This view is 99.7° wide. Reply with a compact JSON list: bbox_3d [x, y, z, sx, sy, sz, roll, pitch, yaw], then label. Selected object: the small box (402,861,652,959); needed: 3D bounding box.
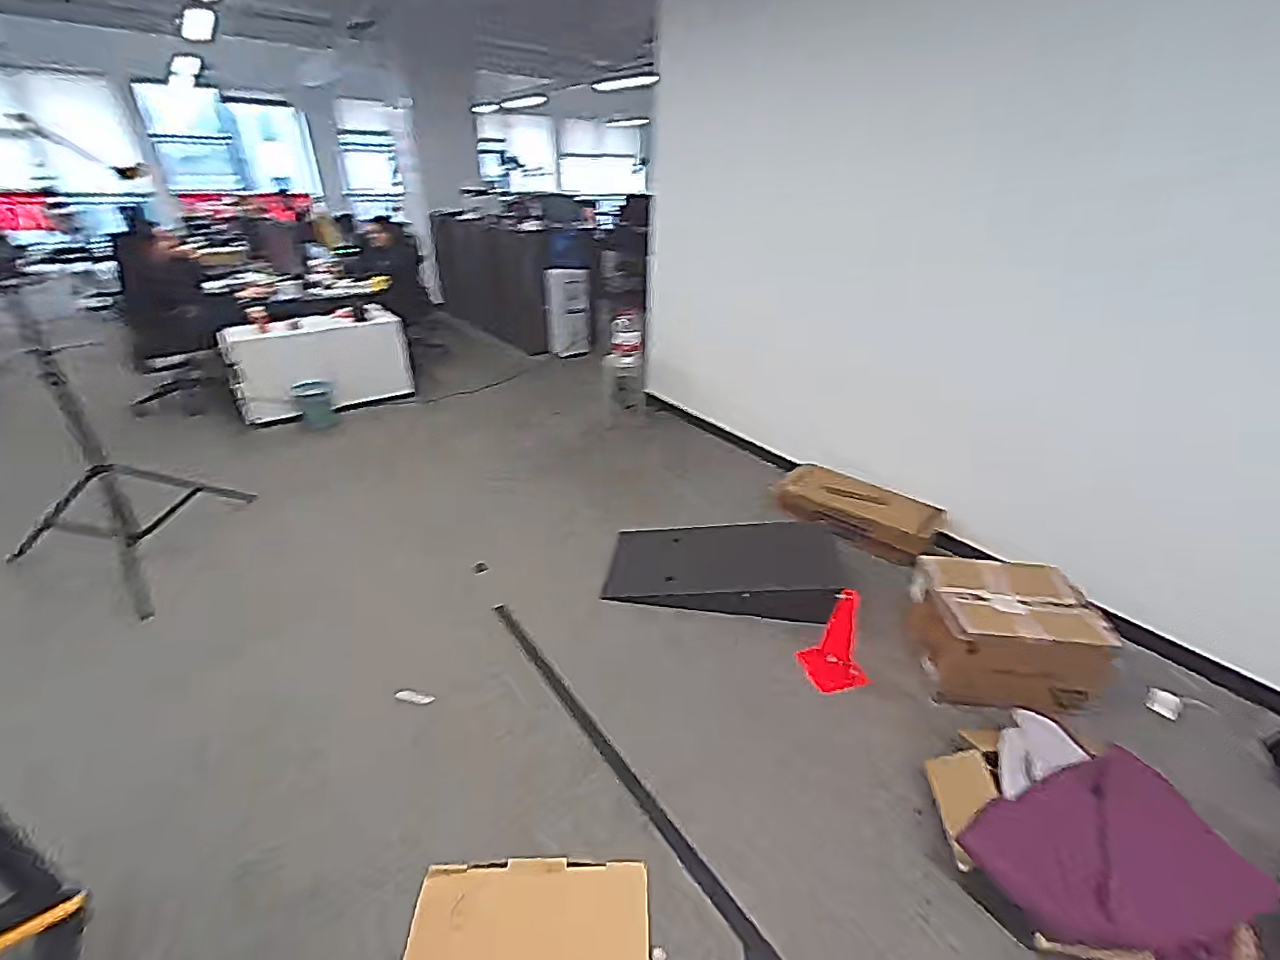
[{"bbox_3d":[-0.076,0.396,0.380,0.168,0.176,0.179,0,41,-2],"label":"small box"}]
